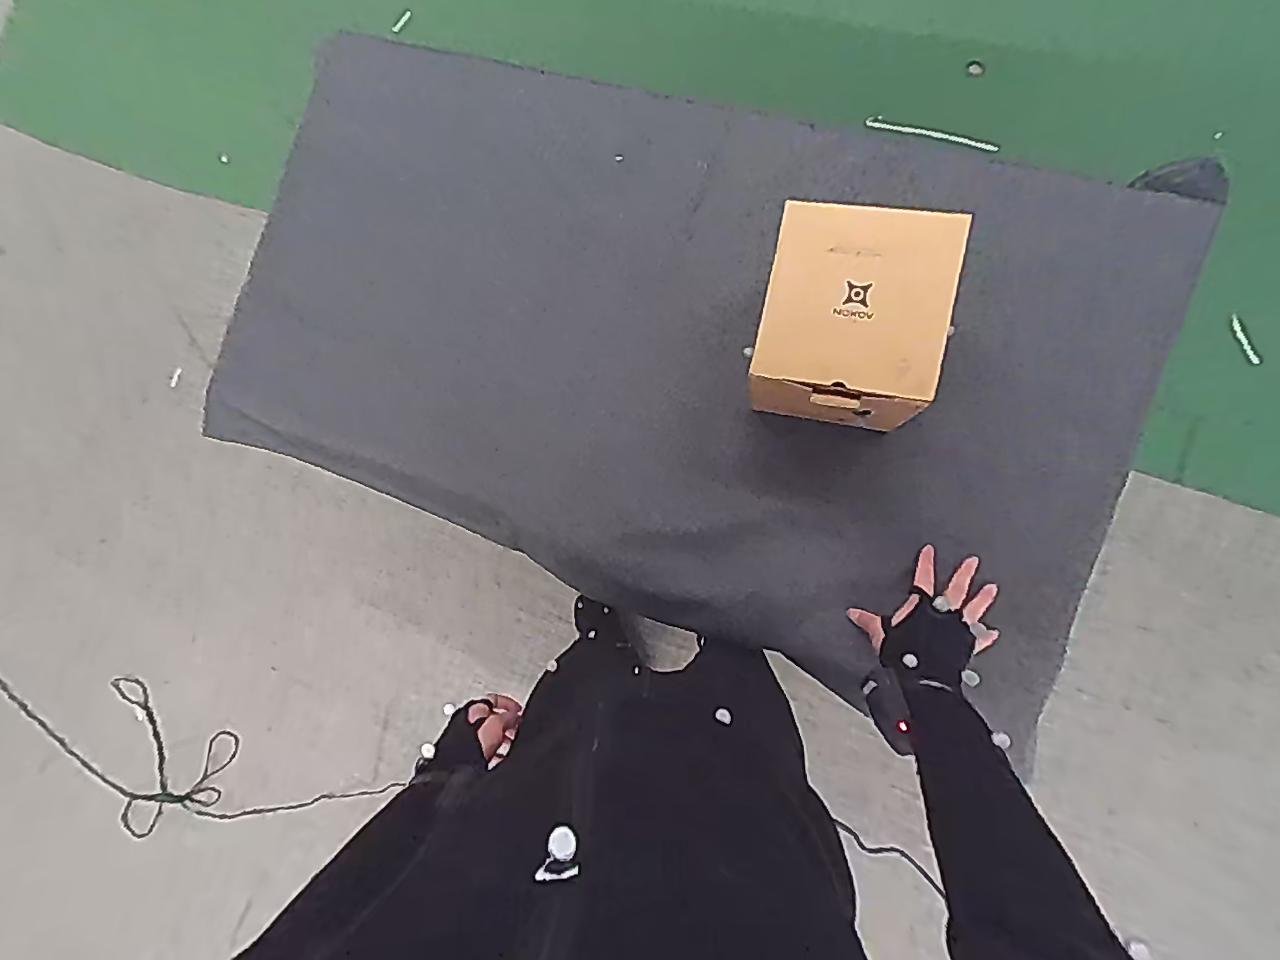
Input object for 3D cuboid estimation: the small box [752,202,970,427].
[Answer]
[{"bbox_3d":[0.221,-0.163,0.582,0.168,0.176,0.179,12,87,12],"label":"small box"}]
